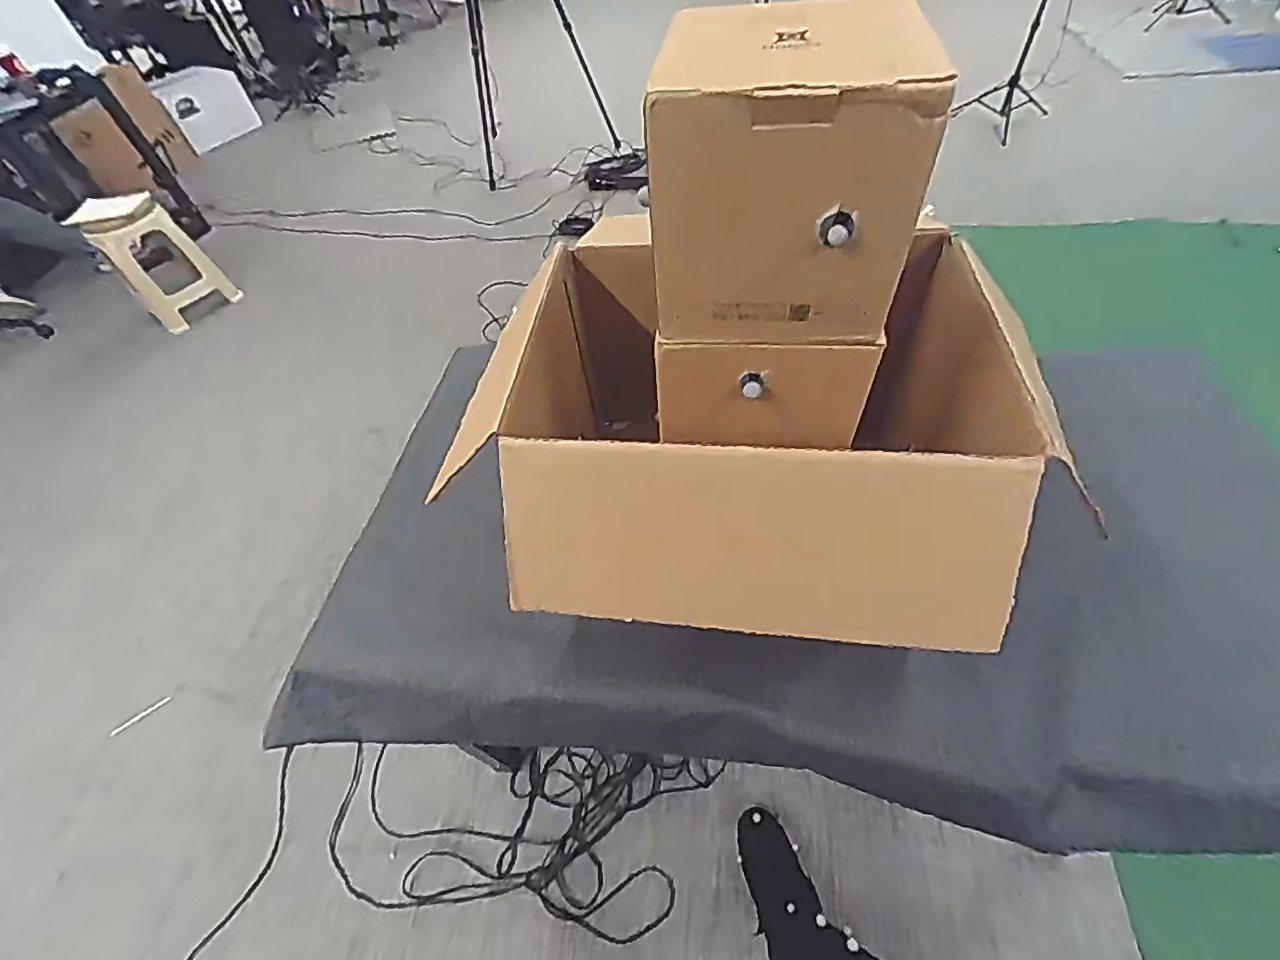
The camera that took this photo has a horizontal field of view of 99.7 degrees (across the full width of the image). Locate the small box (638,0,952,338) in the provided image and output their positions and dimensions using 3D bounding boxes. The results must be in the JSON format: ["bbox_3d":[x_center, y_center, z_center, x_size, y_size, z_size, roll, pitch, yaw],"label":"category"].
[{"bbox_3d":[0.098,-0.221,0.397,0.168,0.176,0.179,4,52,8],"label":"small box"}]

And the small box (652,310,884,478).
[{"bbox_3d":[0.111,-0.116,0.520,0.179,0.176,0.168,2,52,8],"label":"small box"}]
